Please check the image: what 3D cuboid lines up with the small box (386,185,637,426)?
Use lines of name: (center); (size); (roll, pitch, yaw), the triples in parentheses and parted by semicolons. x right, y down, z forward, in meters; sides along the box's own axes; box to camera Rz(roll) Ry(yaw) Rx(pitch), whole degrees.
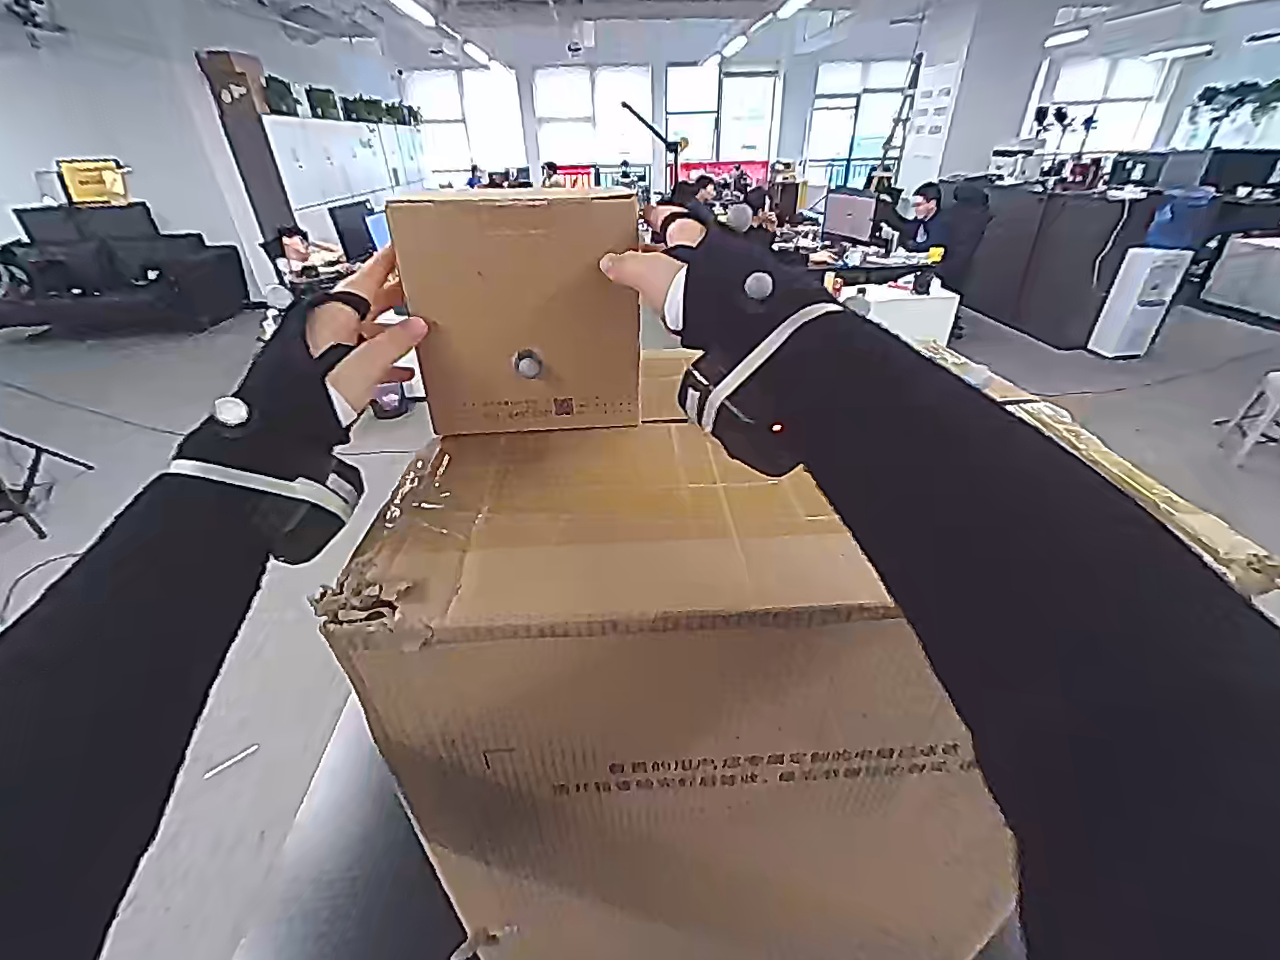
small box: (-0.091, -0.157, 0.466); (0.168, 0.176, 0.179); (-4, 30, -4)
